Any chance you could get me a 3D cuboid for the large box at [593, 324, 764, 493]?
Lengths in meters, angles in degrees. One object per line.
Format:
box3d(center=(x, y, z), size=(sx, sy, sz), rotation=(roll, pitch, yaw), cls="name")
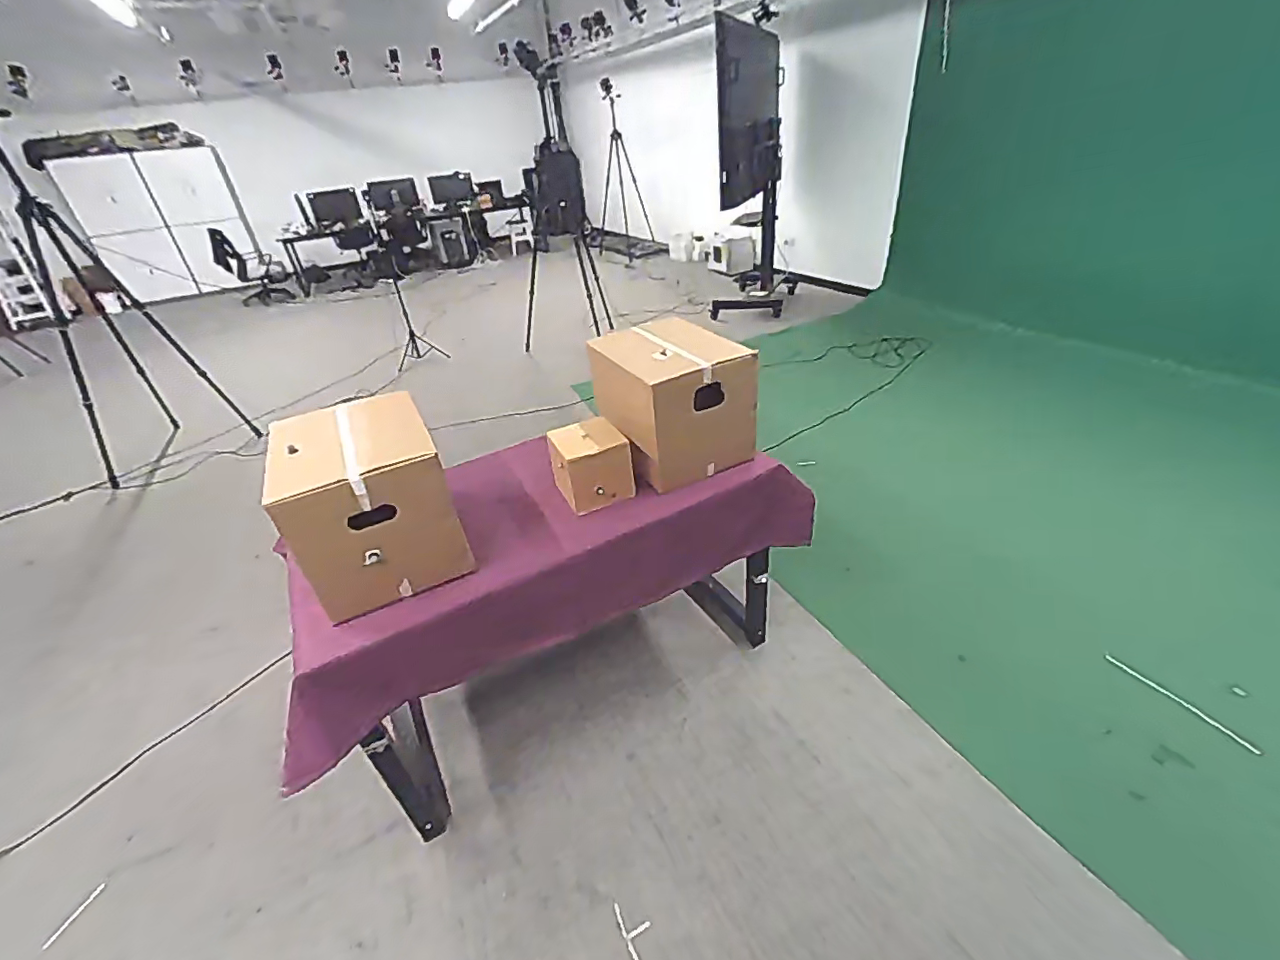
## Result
box3d(center=(0.097, -0.220, 1.538), size=(0.320, 0.320, 0.408), rotation=(-20, 36, -20), cls="large box")
